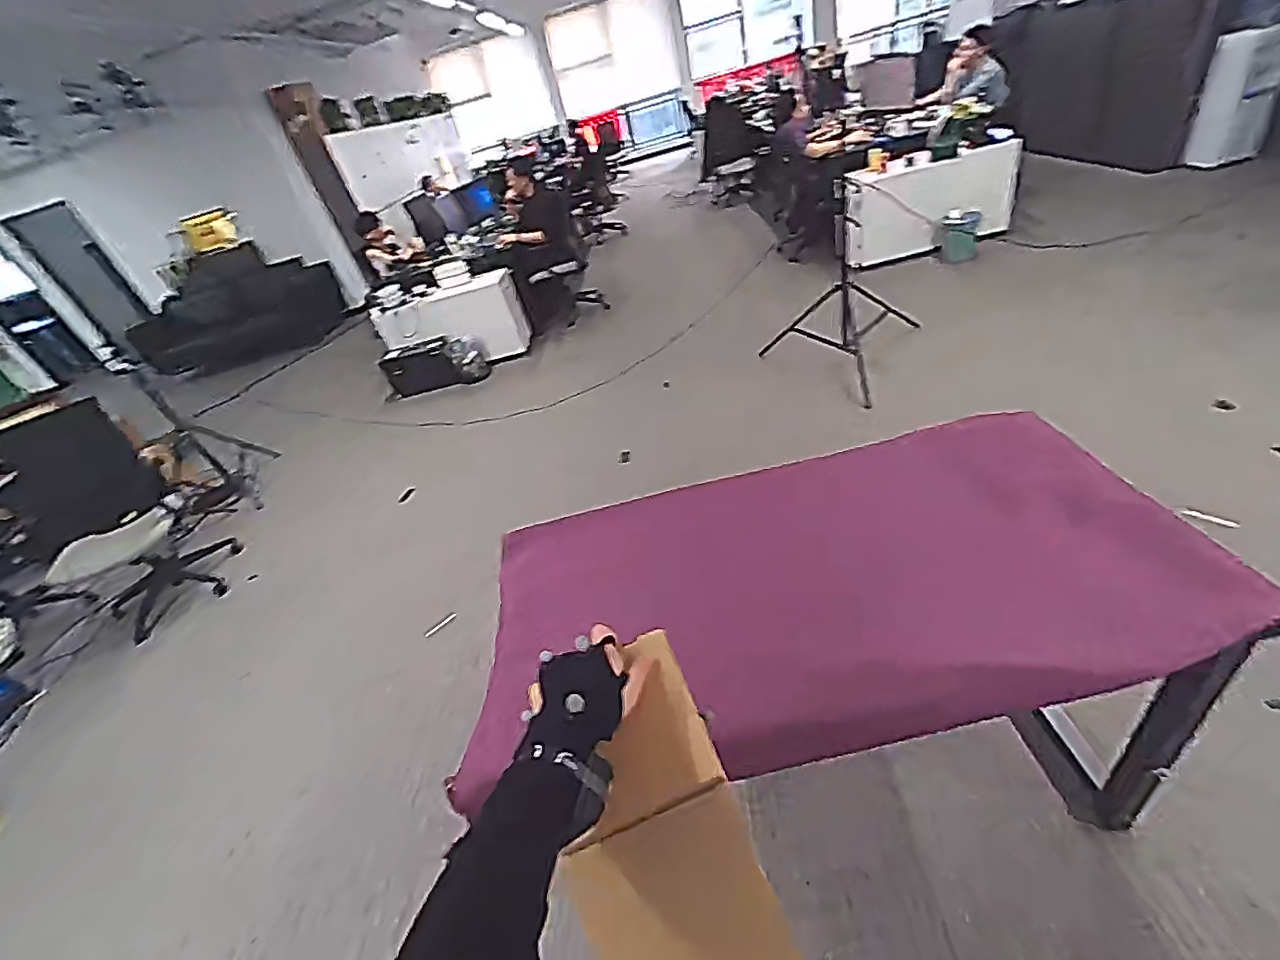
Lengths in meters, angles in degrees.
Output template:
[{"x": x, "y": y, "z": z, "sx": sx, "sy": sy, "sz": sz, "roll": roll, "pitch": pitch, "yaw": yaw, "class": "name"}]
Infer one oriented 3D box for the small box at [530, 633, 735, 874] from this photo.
[{"x": -0.005, "y": 0.311, "z": 0.607, "sx": 0.168, "sy": 0.176, "sz": 0.179, "roll": -22, "pitch": 44, "yaw": -4, "class": "small box"}]
